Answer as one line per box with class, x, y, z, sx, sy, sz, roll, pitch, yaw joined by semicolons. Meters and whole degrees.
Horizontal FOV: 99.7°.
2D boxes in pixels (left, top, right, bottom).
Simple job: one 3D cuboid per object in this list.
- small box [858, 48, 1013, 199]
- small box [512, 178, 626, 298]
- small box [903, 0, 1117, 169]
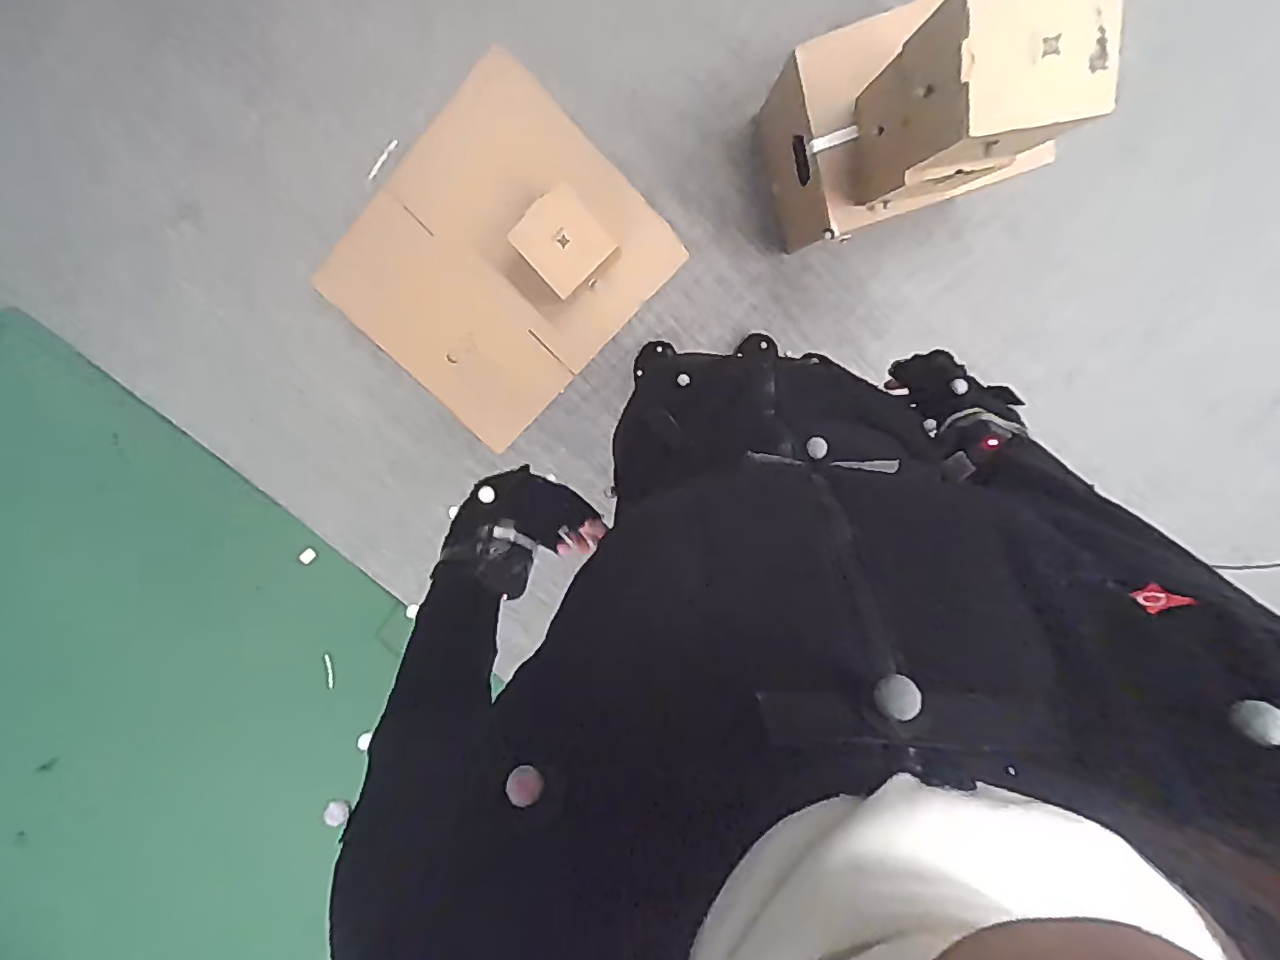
small box;0.460;-0.563;0.859;0.168;0.176;0.179;-10;106;4
small box;-0.149;-0.519;1.193;0.168;0.176;0.179;-41;102;13
small box;0.461;-0.529;0.701;0.179;0.176;0.168;-11;105;4
